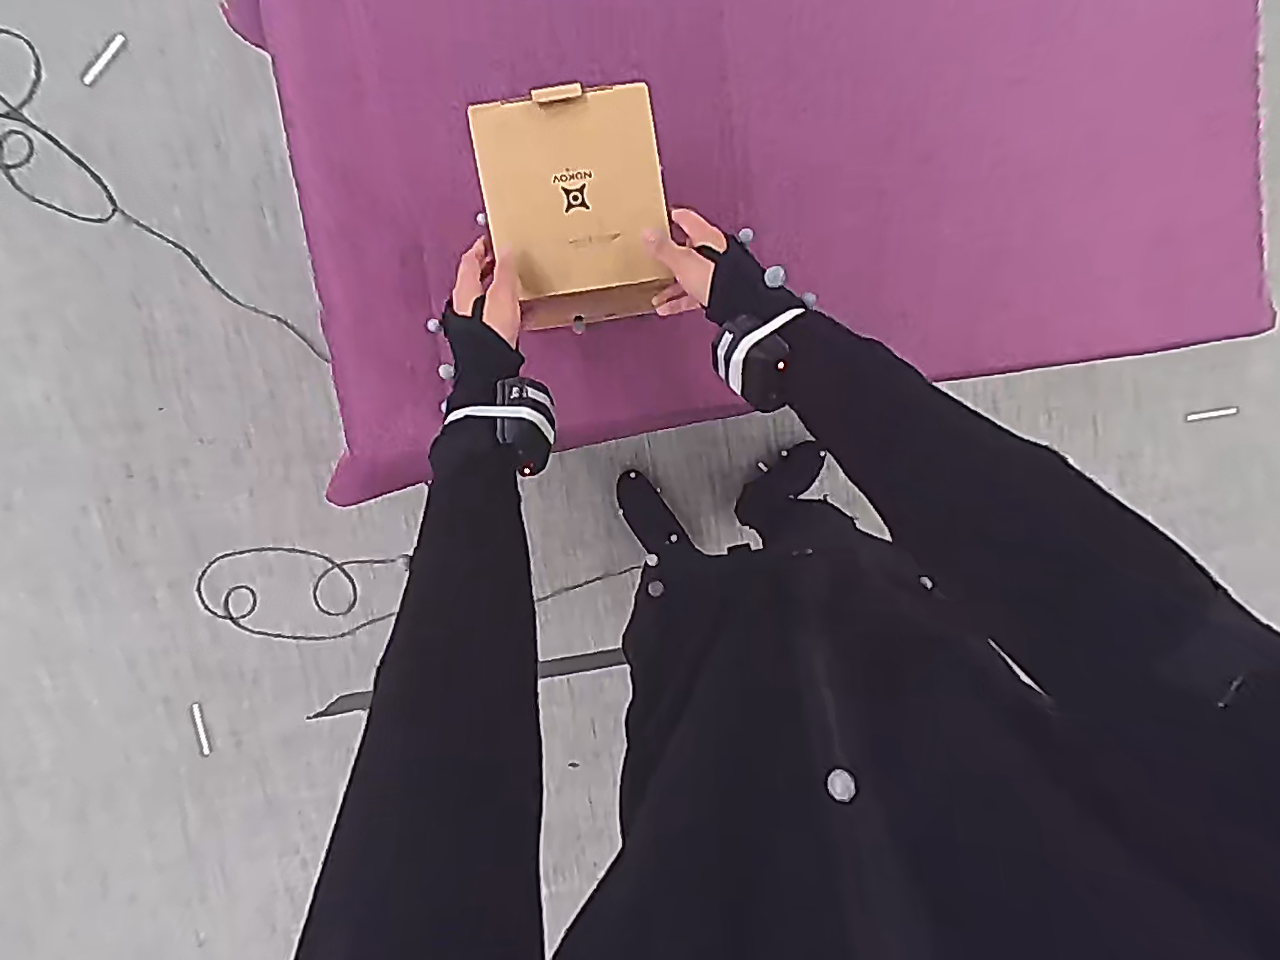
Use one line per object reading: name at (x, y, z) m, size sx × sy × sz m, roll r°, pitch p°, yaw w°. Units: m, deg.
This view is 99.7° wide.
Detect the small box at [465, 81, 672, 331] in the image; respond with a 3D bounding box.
small box at (-0.069, -0.267, 0.566) m, size 0.168 × 0.176 × 0.179 m, roll -10°, pitch 97°, yaw -3°
